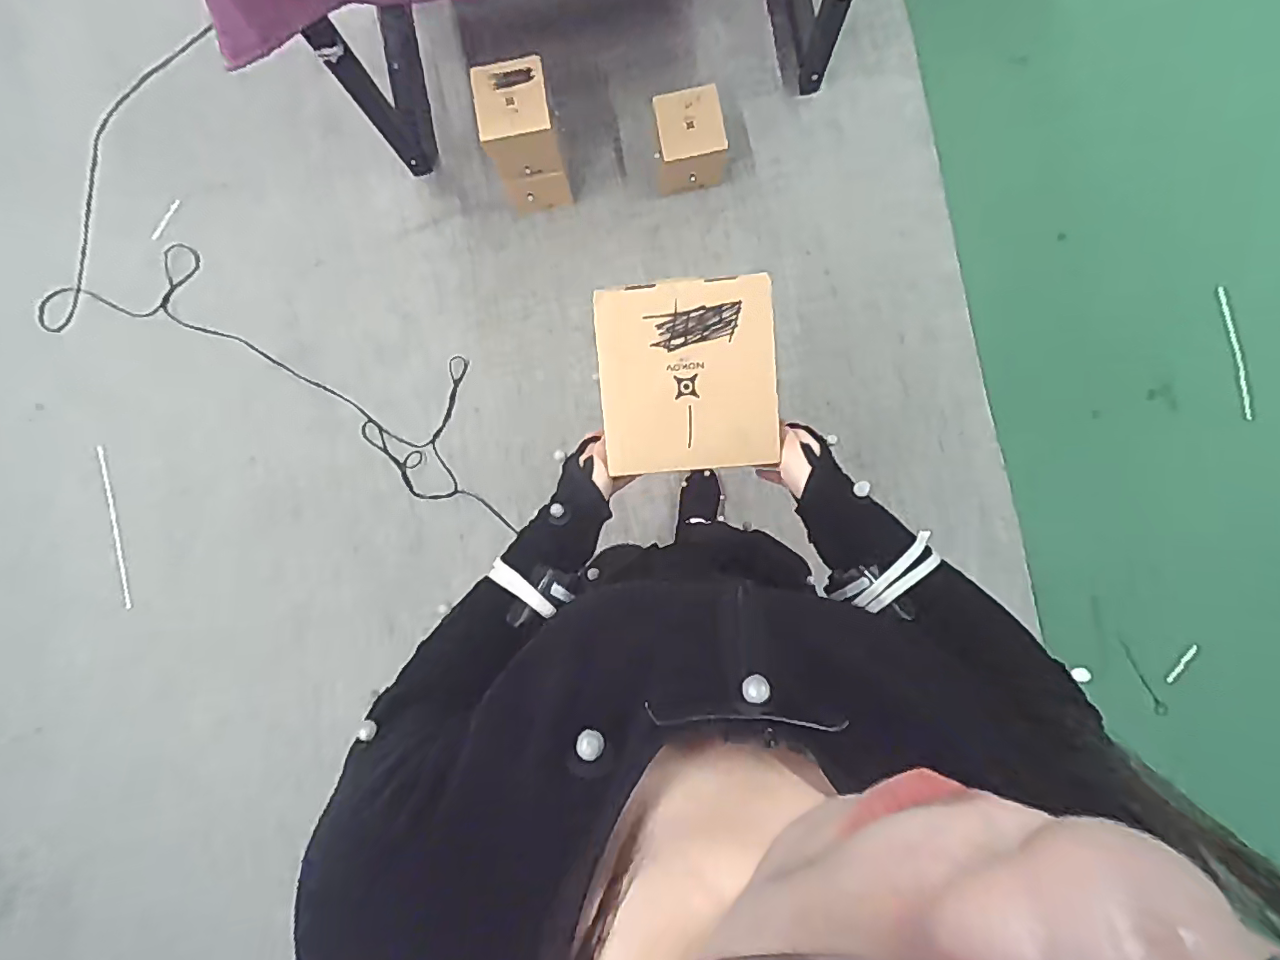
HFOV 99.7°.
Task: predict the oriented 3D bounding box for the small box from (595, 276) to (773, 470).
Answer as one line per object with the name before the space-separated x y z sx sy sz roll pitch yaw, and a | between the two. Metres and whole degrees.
small box | 0.047 -0.109 0.594 0.168 0.176 0.179 -4 97 4
